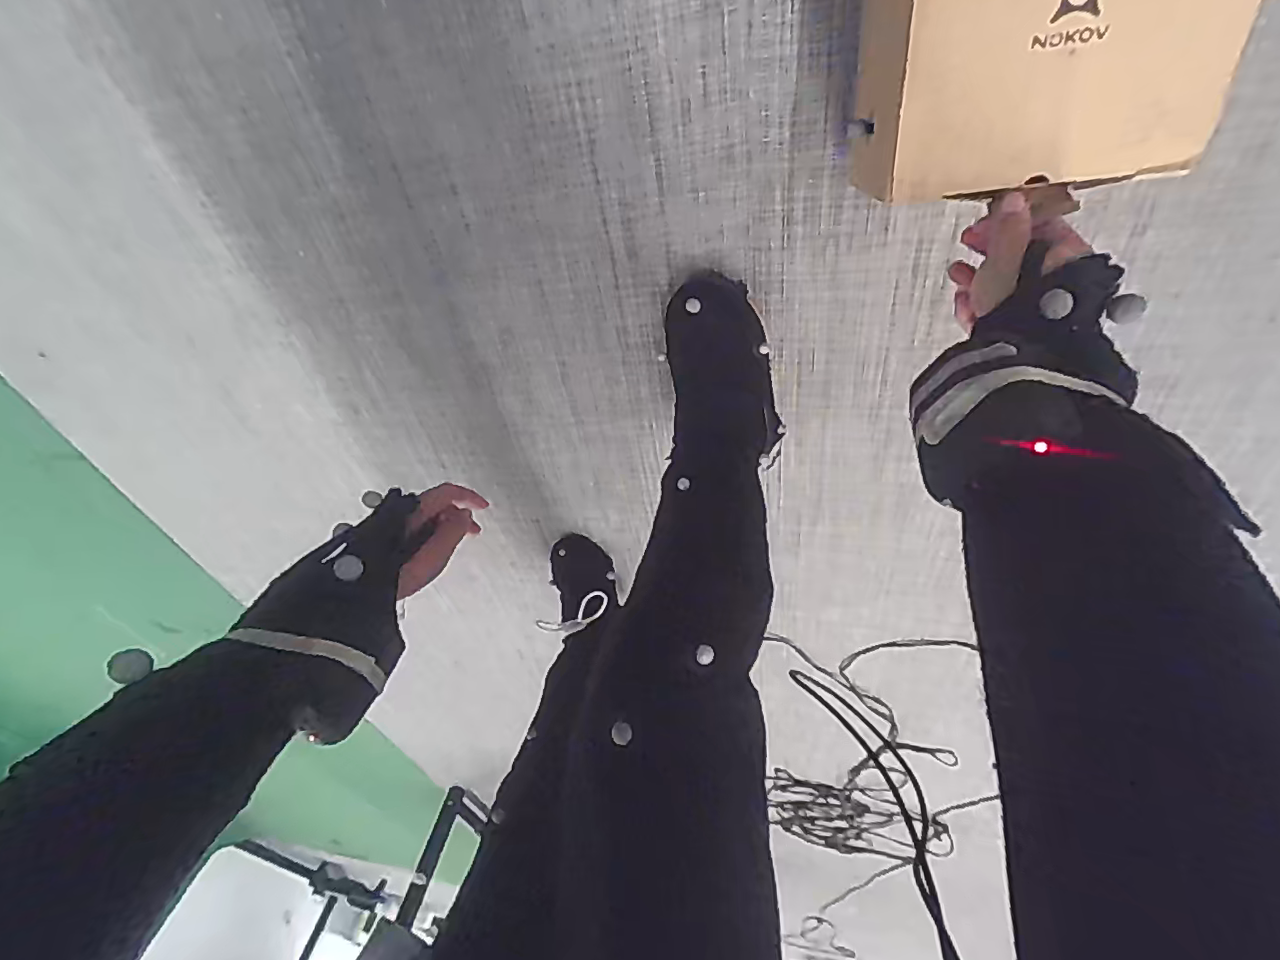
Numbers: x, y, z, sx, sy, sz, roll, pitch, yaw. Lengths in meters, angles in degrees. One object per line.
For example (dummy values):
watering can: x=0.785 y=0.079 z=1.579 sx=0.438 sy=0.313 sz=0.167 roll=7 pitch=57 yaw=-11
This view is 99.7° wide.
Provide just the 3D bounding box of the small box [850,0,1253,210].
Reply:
small box: x=0.240 y=-0.287 z=0.351 sx=0.168 sy=0.176 sz=0.179 roll=0 pitch=121 yaw=11
